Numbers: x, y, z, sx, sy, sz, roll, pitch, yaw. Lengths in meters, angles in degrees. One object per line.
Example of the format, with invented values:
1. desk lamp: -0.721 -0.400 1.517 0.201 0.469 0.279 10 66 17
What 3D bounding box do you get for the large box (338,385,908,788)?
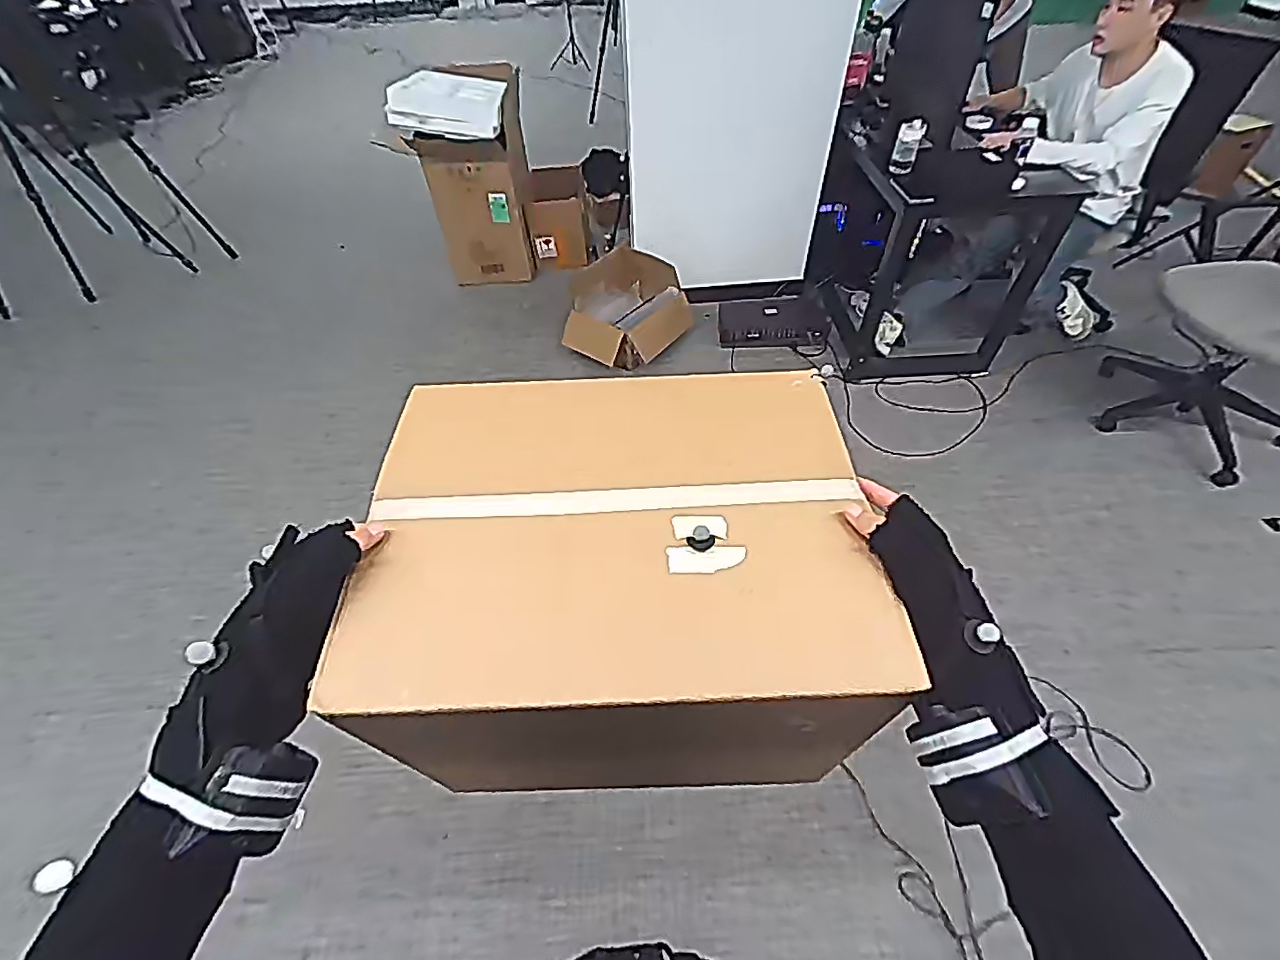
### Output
1. large box: -0.014 0.121 0.578 0.408 0.320 0.320 -2 52 0
